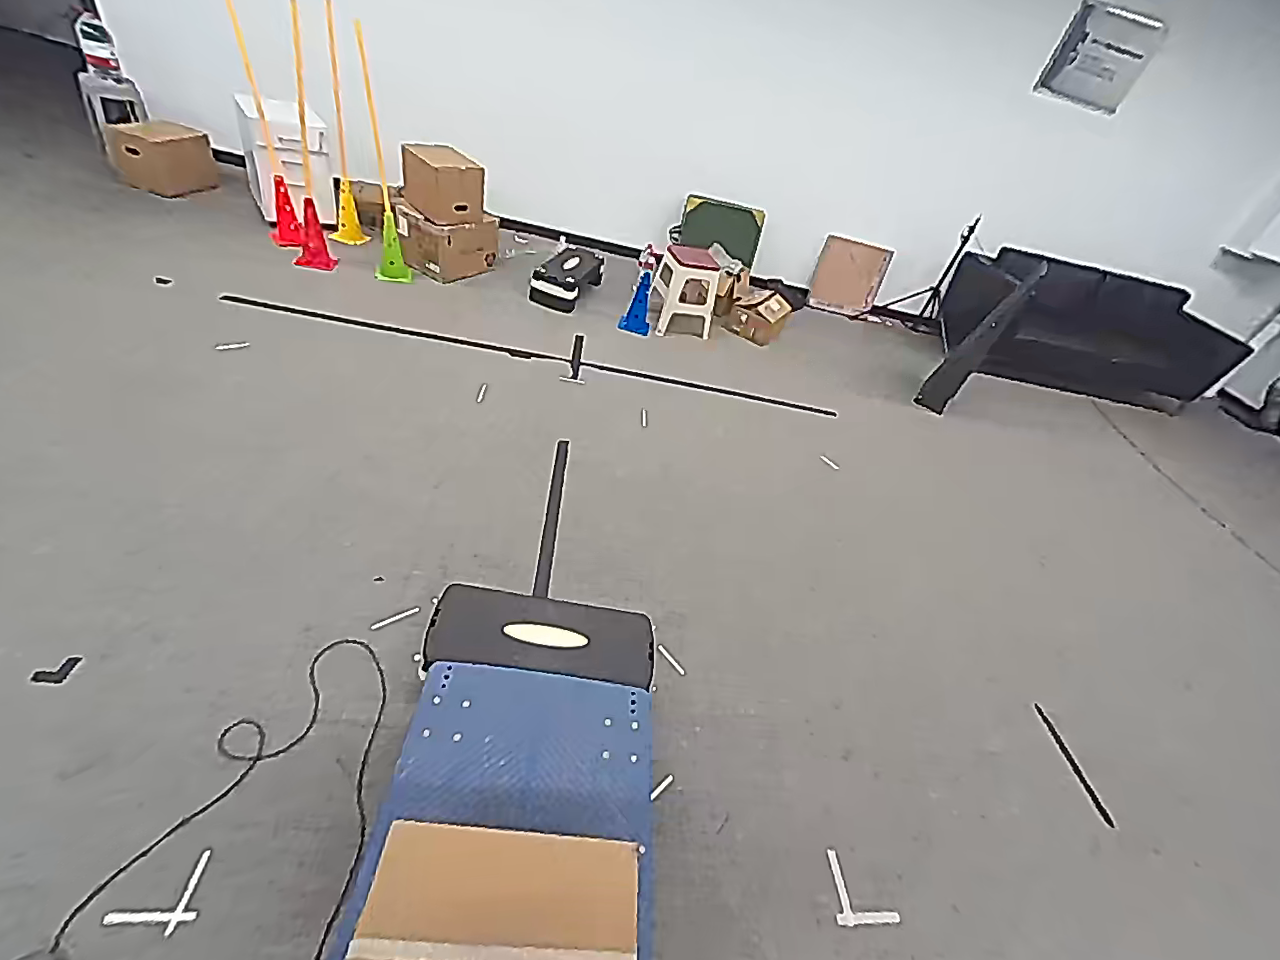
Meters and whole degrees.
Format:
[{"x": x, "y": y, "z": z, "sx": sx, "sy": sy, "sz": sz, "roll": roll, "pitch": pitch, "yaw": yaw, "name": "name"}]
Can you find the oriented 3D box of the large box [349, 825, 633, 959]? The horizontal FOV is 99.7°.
[{"x": -0.243, "y": 0.791, "z": 0.861, "sx": 0.408, "sy": 0.320, "sz": 0.320, "roll": 12, "pitch": 40, "yaw": -9, "name": "large box"}]
